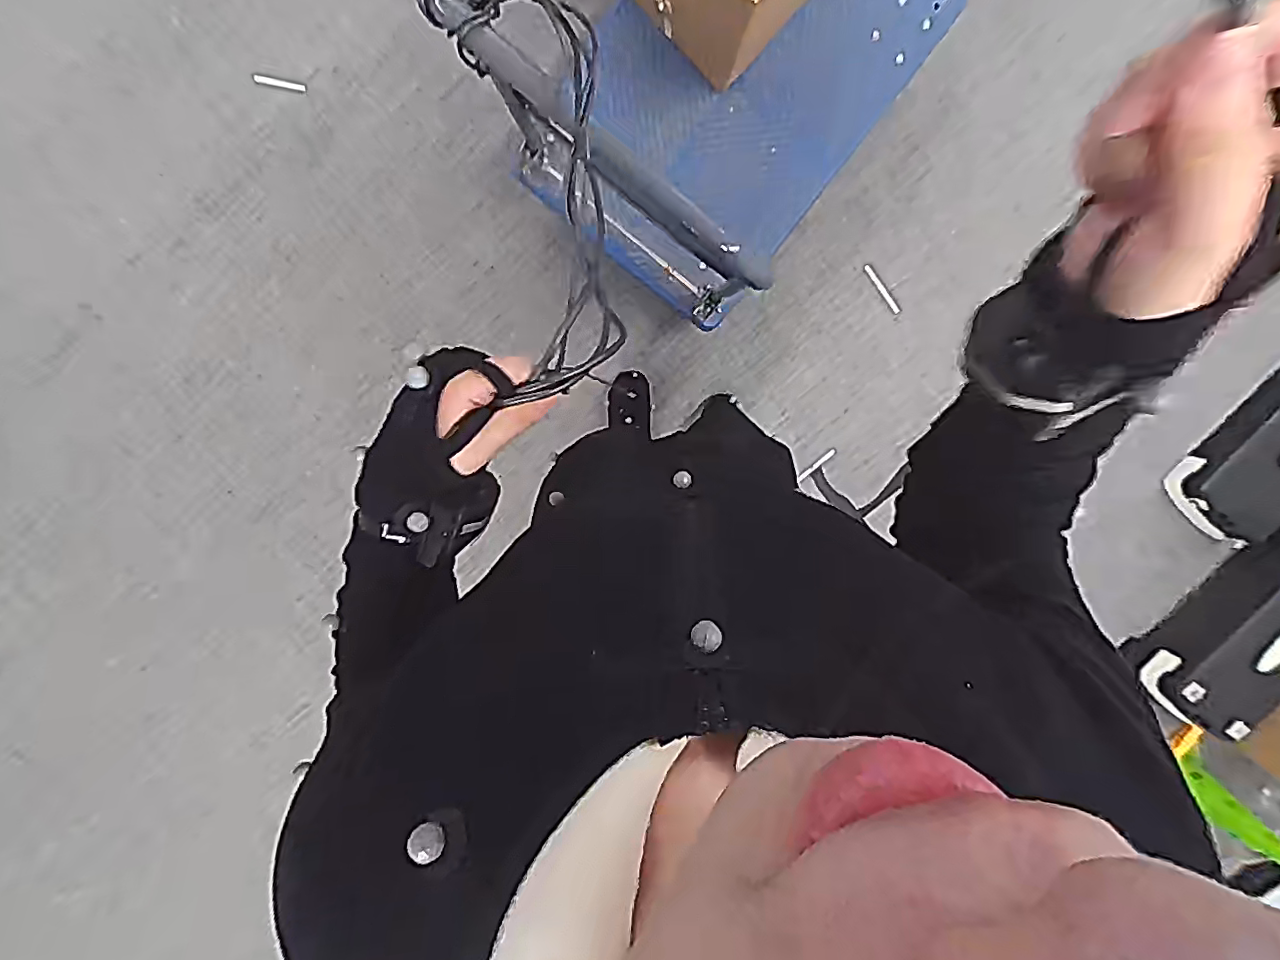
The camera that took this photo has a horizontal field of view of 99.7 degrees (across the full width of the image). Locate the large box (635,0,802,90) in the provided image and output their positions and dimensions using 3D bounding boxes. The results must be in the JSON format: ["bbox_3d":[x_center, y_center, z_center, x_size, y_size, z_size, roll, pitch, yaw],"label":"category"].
[{"bbox_3d":[0.199,-1.025,0.946,0.320,0.320,0.408,42,98,-10],"label":"large box"}]
